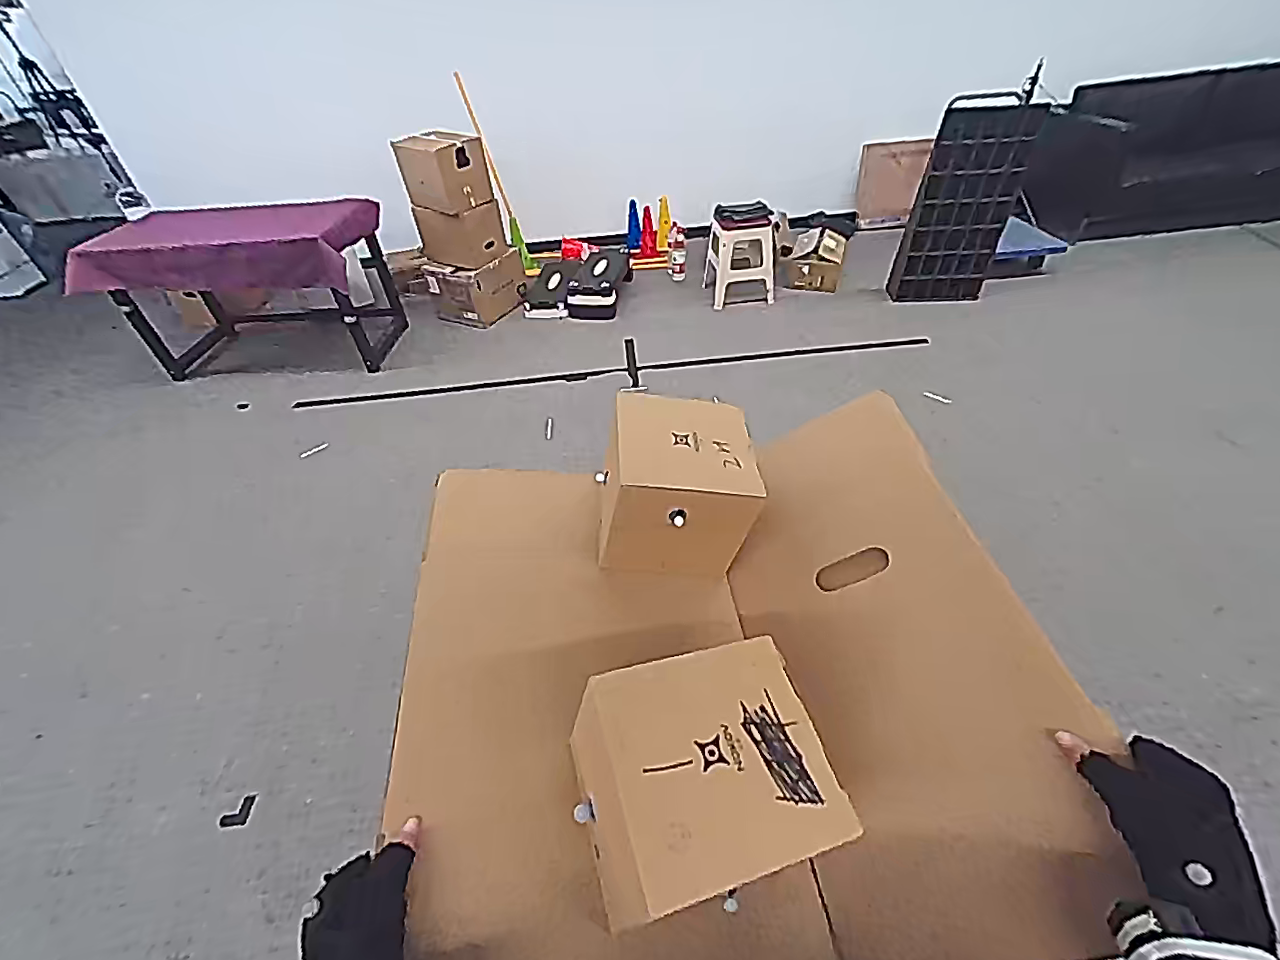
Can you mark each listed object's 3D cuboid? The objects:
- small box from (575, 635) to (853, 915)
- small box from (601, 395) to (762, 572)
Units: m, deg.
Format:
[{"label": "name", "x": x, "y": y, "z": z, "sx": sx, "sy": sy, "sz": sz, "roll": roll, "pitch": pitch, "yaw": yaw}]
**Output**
[{"label": "small box", "x": 0.048, "y": 0.268, "z": 0.495, "sx": 0.179, "sy": 0.176, "sz": 0.168, "roll": -6, "pitch": 50, "yaw": -19}, {"label": "small box", "x": 0.042, "y": 0.010, "z": 0.732, "sx": 0.179, "sy": 0.176, "sz": 0.168, "roll": 6, "pitch": 47, "yaw": -10}]
